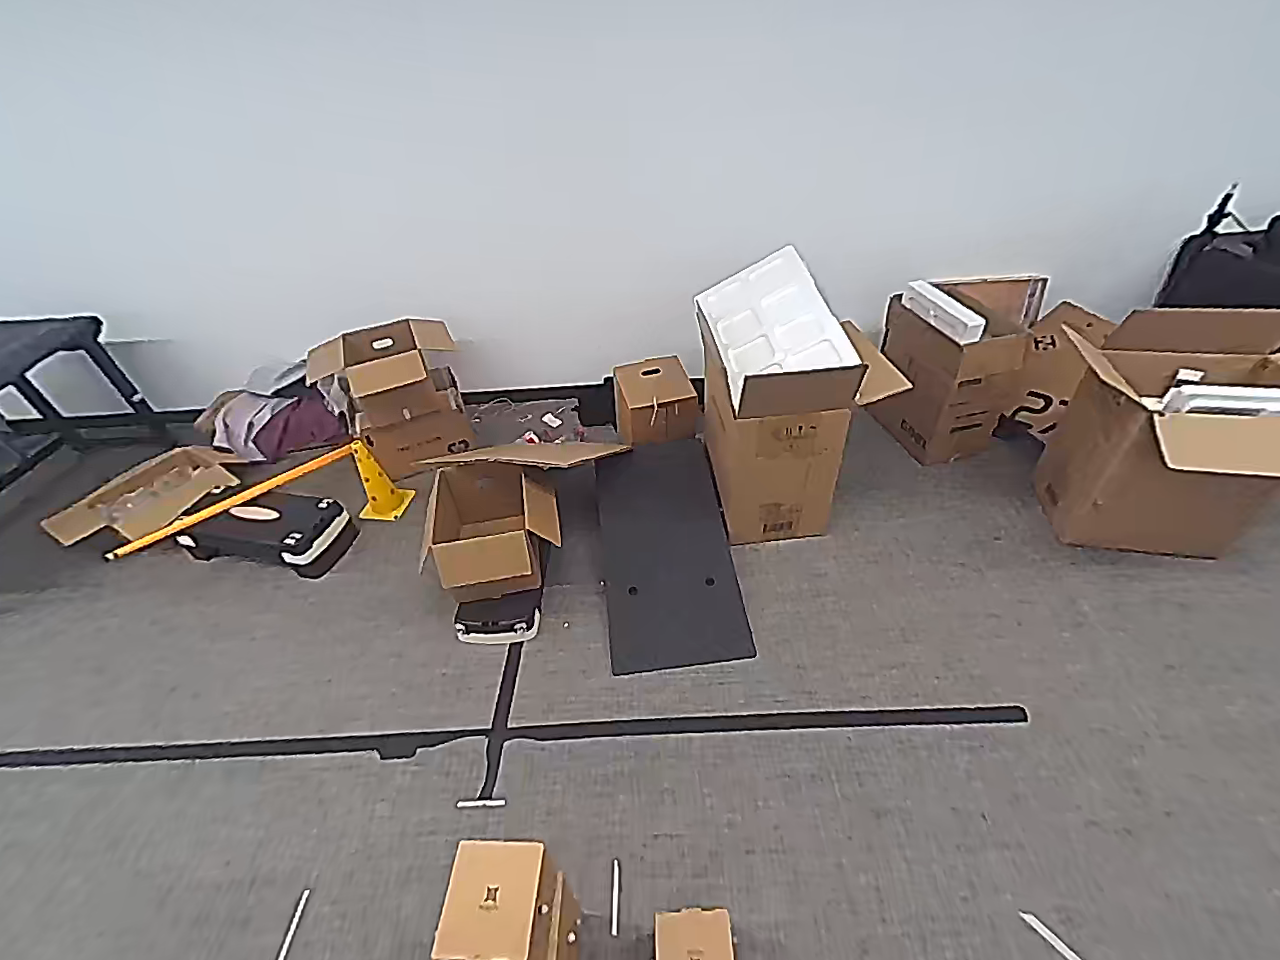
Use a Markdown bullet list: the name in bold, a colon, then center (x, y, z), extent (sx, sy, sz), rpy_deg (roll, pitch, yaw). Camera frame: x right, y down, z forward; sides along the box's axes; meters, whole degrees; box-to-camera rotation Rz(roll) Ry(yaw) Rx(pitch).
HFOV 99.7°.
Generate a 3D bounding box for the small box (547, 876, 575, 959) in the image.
- **small box**: center (-0.236, 0.928, 1.099), extent (0.179, 0.176, 0.168), rpy_deg (-2, 40, 2)

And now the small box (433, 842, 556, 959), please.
- **small box**: center (-0.255, 0.800, 0.999), extent (0.168, 0.176, 0.179), rpy_deg (-1, 41, 4)

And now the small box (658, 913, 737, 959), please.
- **small box**: center (0.125, 1.063, 1.164), extent (0.168, 0.176, 0.179), rpy_deg (-5, 41, 2)
